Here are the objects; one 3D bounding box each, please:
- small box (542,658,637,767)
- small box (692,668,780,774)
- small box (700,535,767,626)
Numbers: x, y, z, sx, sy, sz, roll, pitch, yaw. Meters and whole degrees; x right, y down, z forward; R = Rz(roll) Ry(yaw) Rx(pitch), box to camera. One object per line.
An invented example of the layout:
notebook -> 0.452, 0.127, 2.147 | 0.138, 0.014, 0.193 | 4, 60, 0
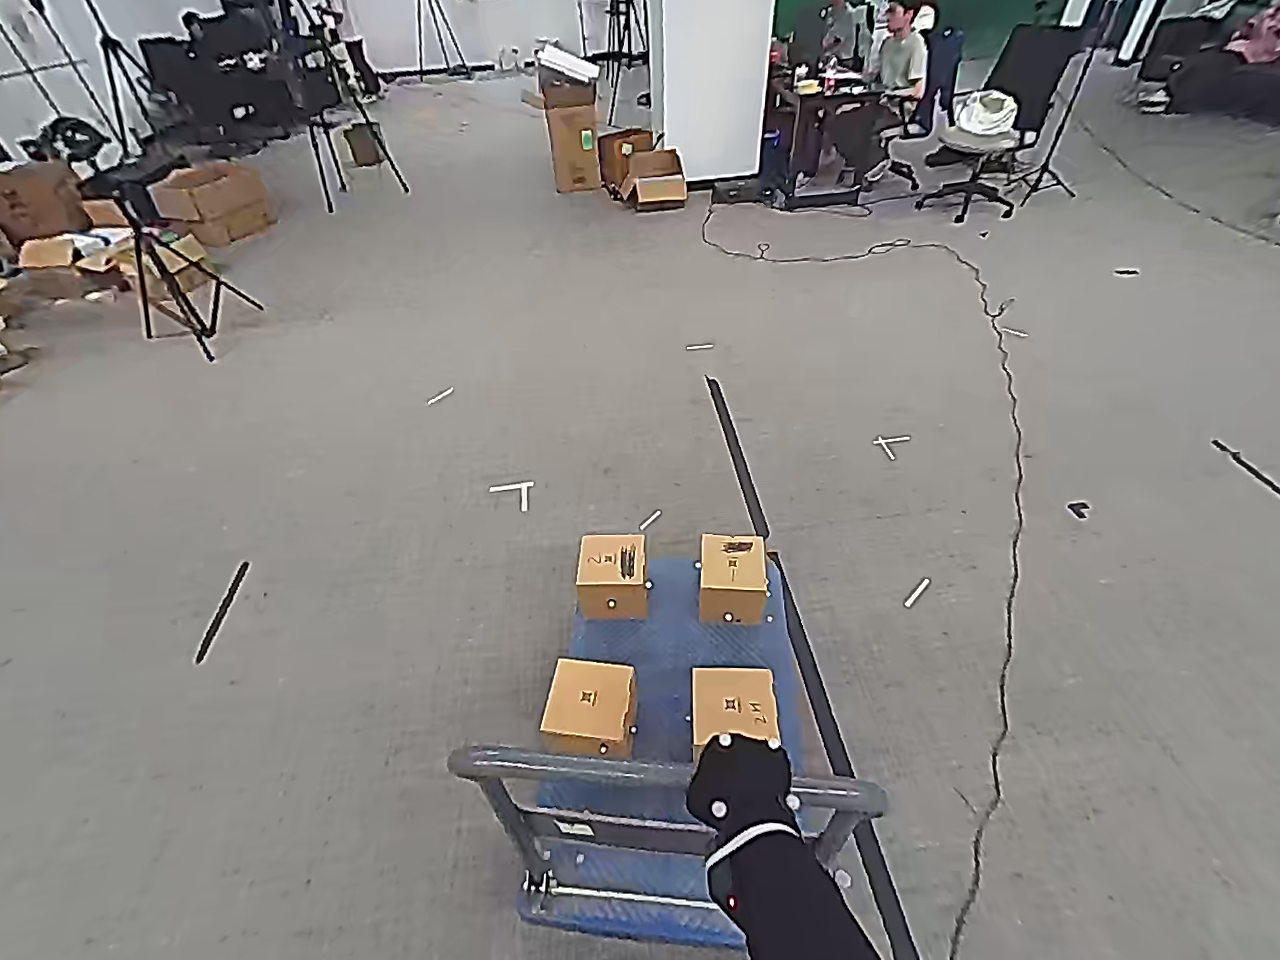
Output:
small box -> -0.104, 0.526, 1.219 | 0.179, 0.176, 0.168 | 5, 44, 7
small box -> 0.204, 0.531, 1.189 | 0.179, 0.176, 0.168 | 0, 44, 5
small box -> 0.248, 0.270, 1.458 | 0.168, 0.176, 0.179 | 2, 45, 7
